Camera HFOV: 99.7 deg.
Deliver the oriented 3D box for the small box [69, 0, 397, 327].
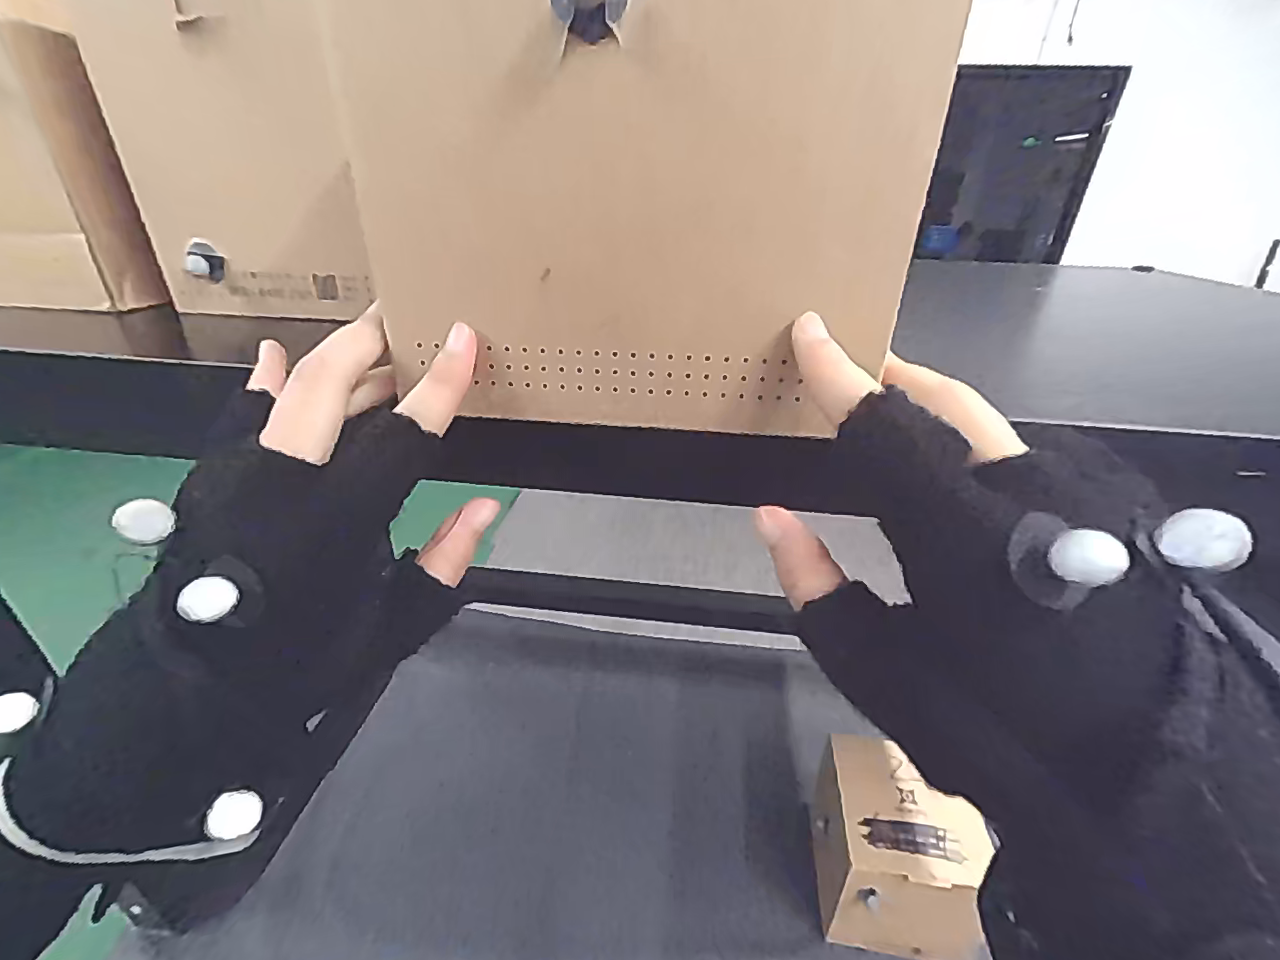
[{"bbox_3d":[-0.201,-0.208,0.375,0.168,0.176,0.179,4,28,3],"label":"small box"}]
